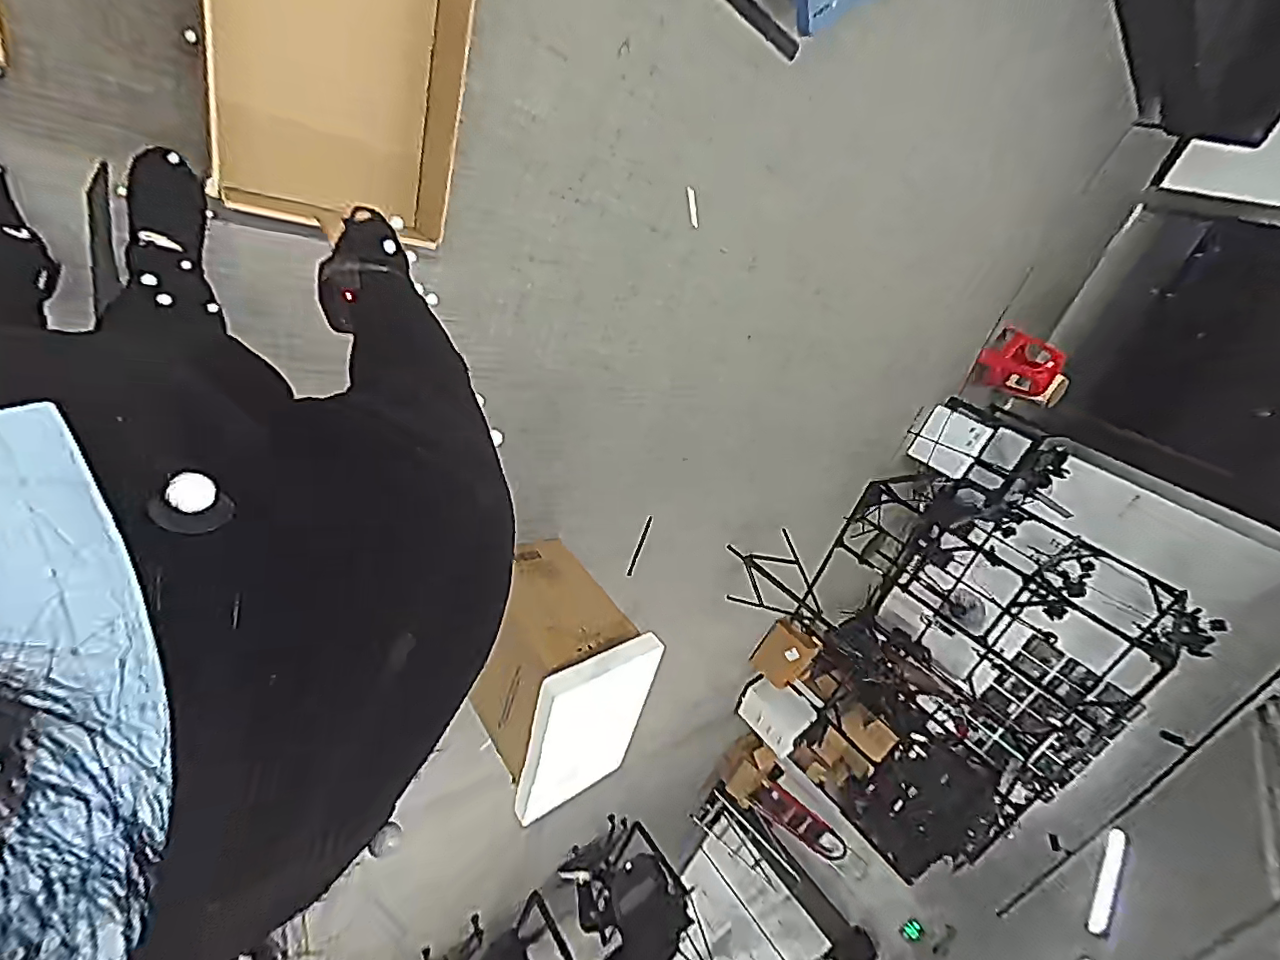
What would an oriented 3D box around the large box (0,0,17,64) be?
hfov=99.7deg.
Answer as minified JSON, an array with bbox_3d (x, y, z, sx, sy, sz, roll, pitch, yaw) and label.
[{"bbox_3d":[-0.911,-0.727,0.544,0.320,0.320,0.408,-9,128,-42],"label":"large box"}]
